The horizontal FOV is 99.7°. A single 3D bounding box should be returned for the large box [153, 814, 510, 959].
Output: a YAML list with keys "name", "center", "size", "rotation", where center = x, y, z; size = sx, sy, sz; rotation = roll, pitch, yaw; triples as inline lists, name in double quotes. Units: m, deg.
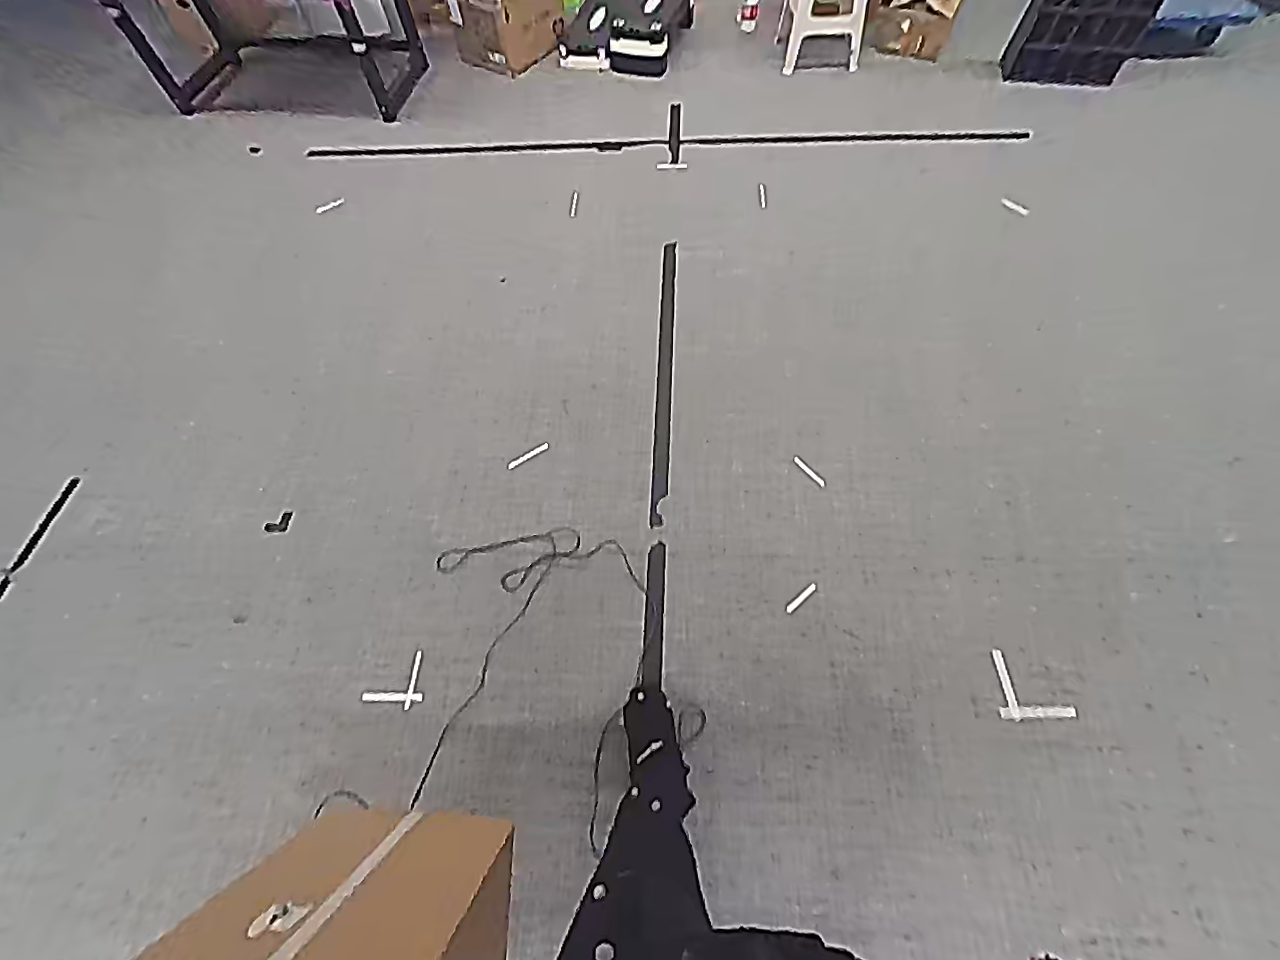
- name: "large box"
  center: [-0.376, 0.686, 0.675]
  size: [0.320, 0.408, 0.320]
  rotation: [1, 83, 3]
